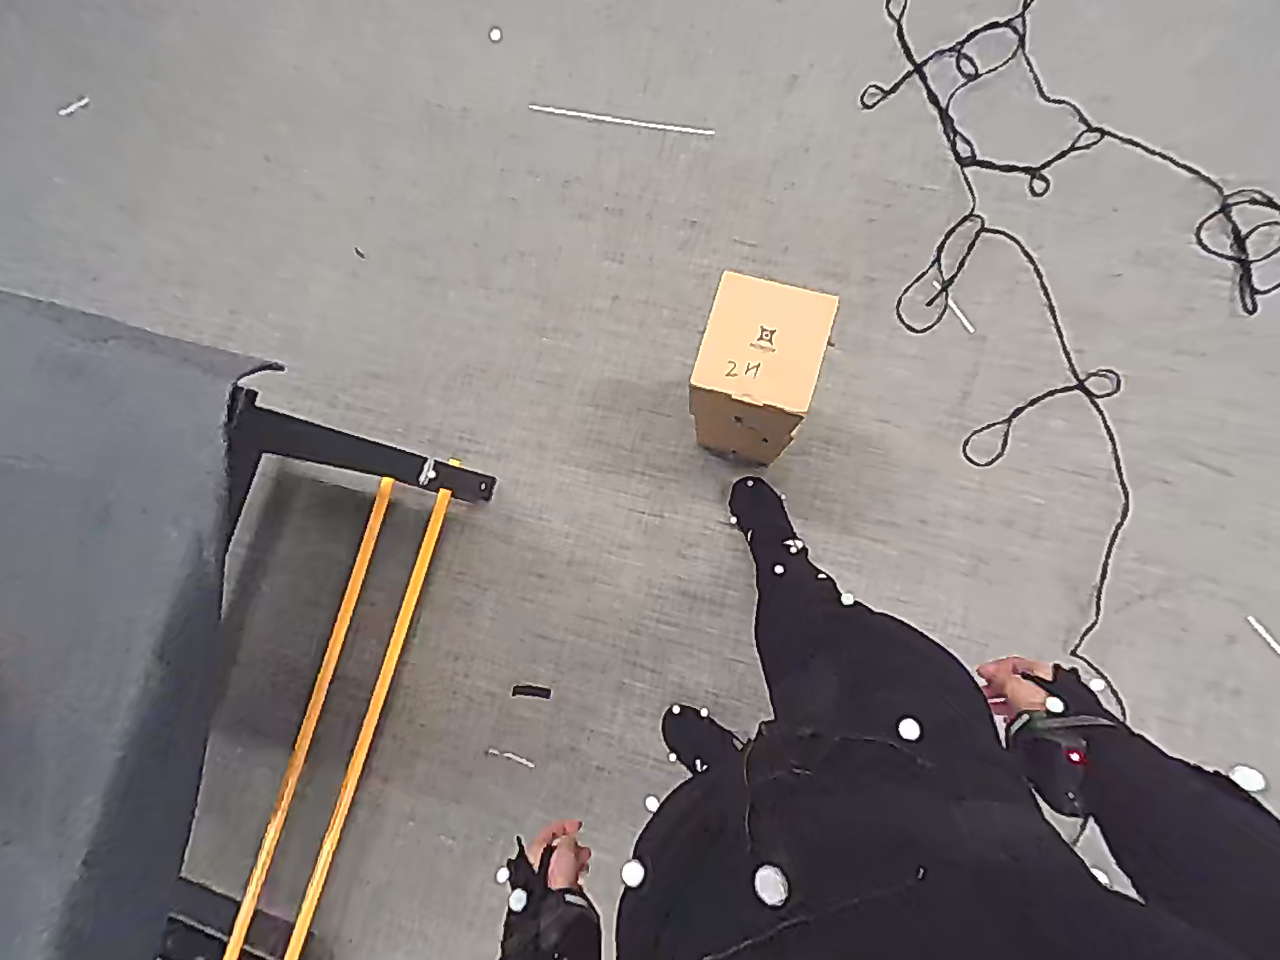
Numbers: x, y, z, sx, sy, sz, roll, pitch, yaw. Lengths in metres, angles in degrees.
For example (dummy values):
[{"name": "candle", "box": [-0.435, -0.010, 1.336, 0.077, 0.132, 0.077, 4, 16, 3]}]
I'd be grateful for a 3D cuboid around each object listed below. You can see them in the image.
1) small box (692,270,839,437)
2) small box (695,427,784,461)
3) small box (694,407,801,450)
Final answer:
[{"name": "small box", "box": [0.179, -0.180, 0.818, 0.168, 0.176, 0.179, 16, 86, 8]}, {"name": "small box", "box": [0.224, -0.145, 1.139, 0.179, 0.176, 0.168, 18, 85, 7]}, {"name": "small box", "box": [0.204, -0.159, 0.979, 0.179, 0.176, 0.168, 15, 84, 9]}]
